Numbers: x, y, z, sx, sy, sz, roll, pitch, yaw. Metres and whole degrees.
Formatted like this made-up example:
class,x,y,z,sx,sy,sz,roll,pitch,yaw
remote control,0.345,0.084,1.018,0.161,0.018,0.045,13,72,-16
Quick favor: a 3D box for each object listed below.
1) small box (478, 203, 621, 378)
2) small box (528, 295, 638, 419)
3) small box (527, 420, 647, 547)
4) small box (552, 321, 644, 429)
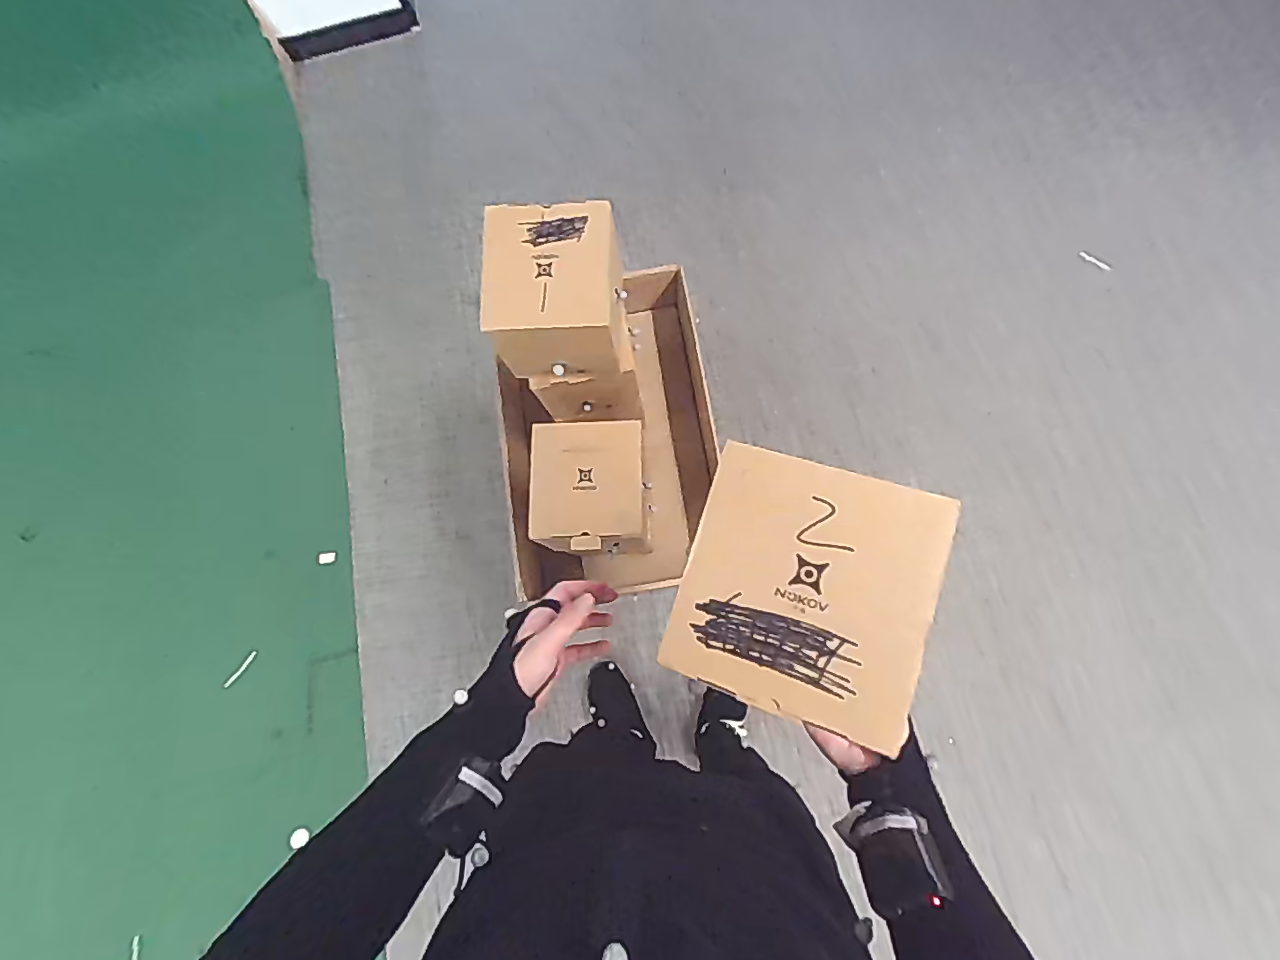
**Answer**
class,x,y,z,sx,sy,sz,roll,pitch,yaw
small box,-0.117,-0.258,0.766,0.168,0.176,0.179,-1,80,4
small box,-0.100,-0.222,0.925,0.168,0.176,0.179,-11,79,2
small box,-0.075,0.015,0.866,0.168,0.176,0.179,-1,76,3
small box,-0.088,-0.193,1.084,0.168,0.176,0.179,-11,78,3
